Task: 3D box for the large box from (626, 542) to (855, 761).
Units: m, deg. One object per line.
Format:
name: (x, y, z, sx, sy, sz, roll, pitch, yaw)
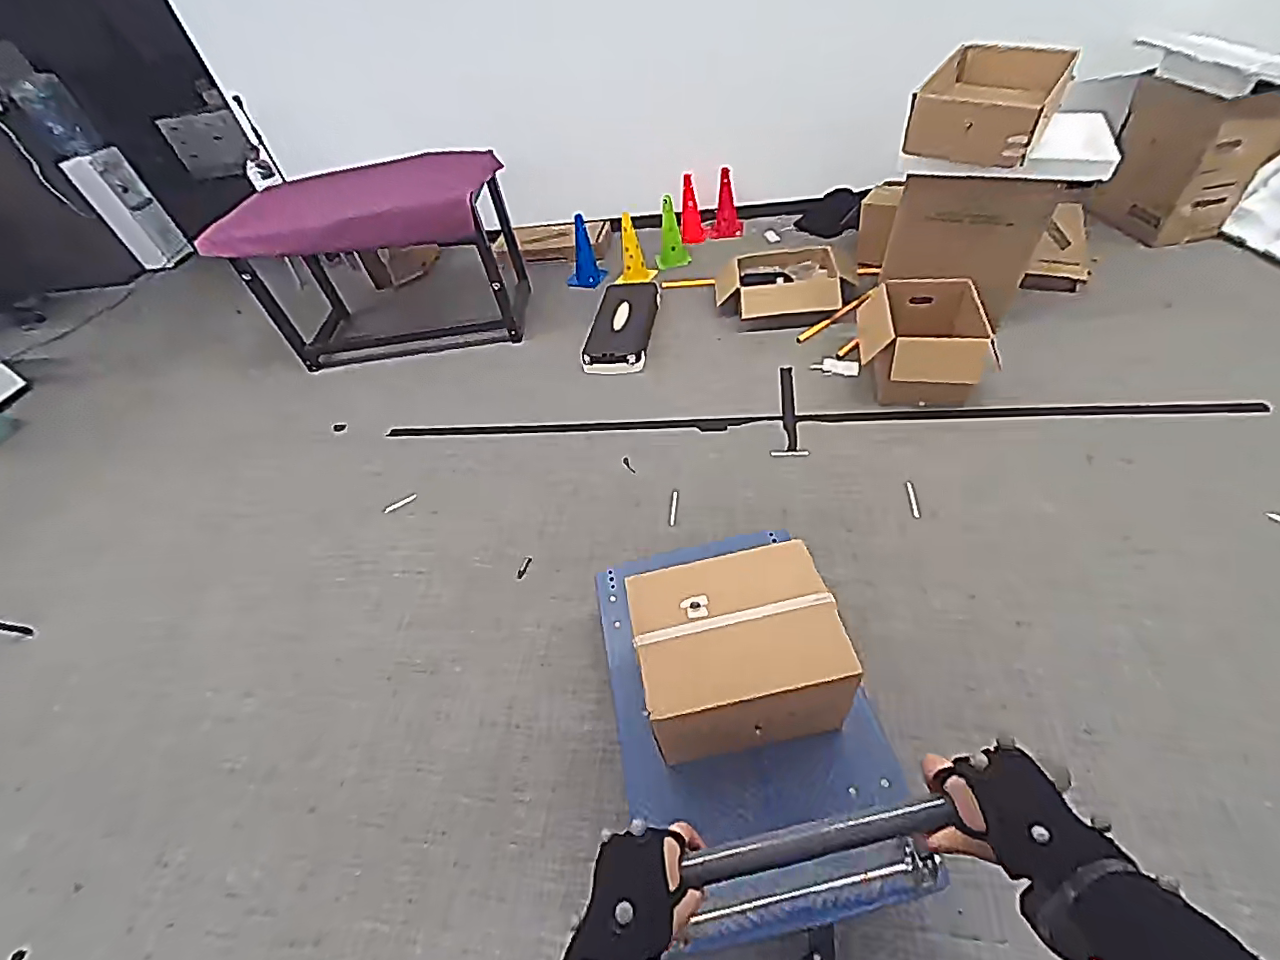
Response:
large box: (0.211, 0.390, 1.221, 0.408, 0.320, 0.320, -14, 47, 0)
